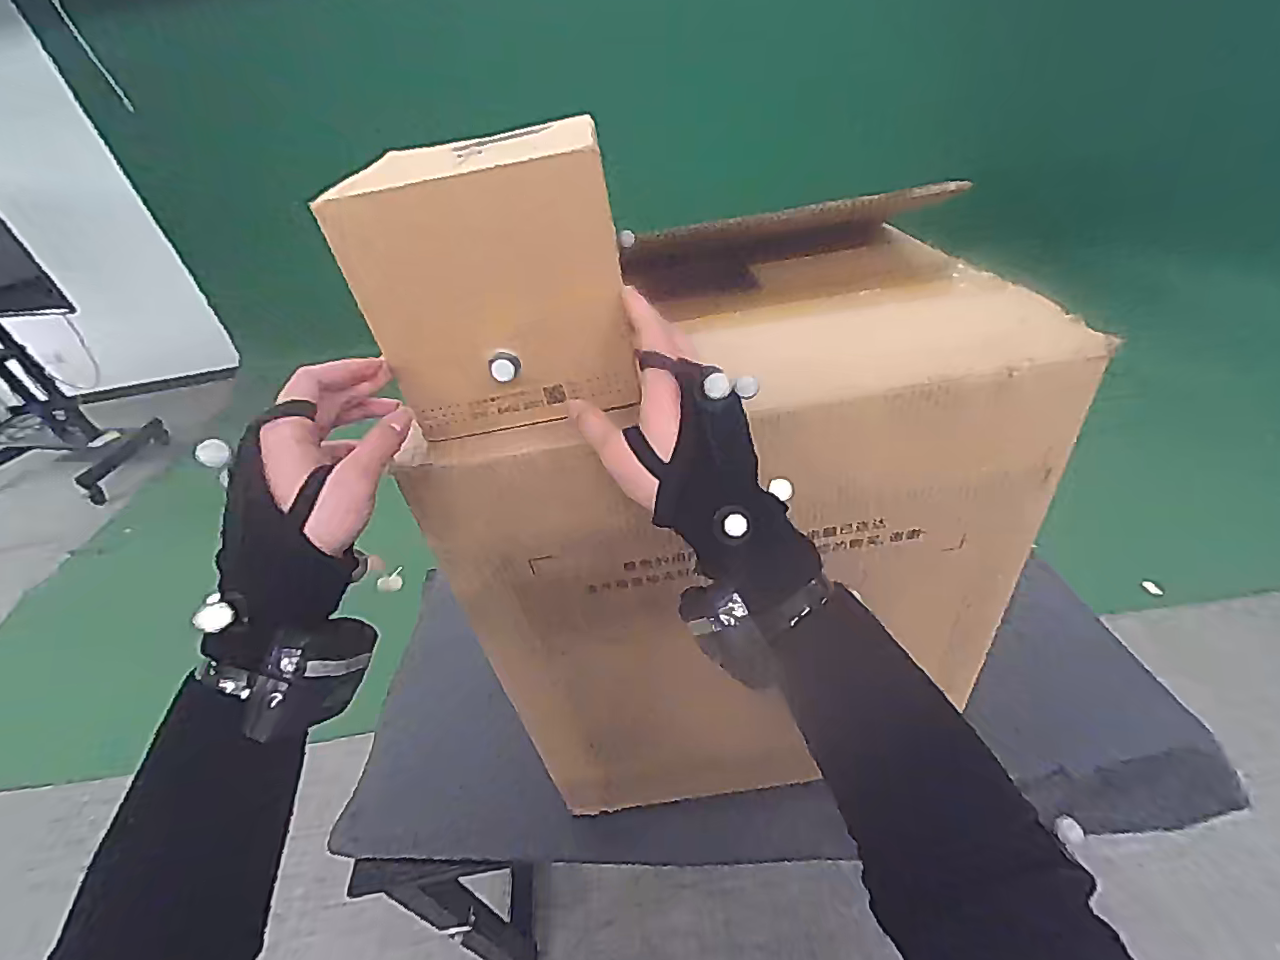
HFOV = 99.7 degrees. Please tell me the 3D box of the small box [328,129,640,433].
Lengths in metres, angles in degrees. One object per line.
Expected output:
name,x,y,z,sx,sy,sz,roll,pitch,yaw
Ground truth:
small box,-0.098,-0.159,0.427,0.168,0.176,0.179,-11,37,2
